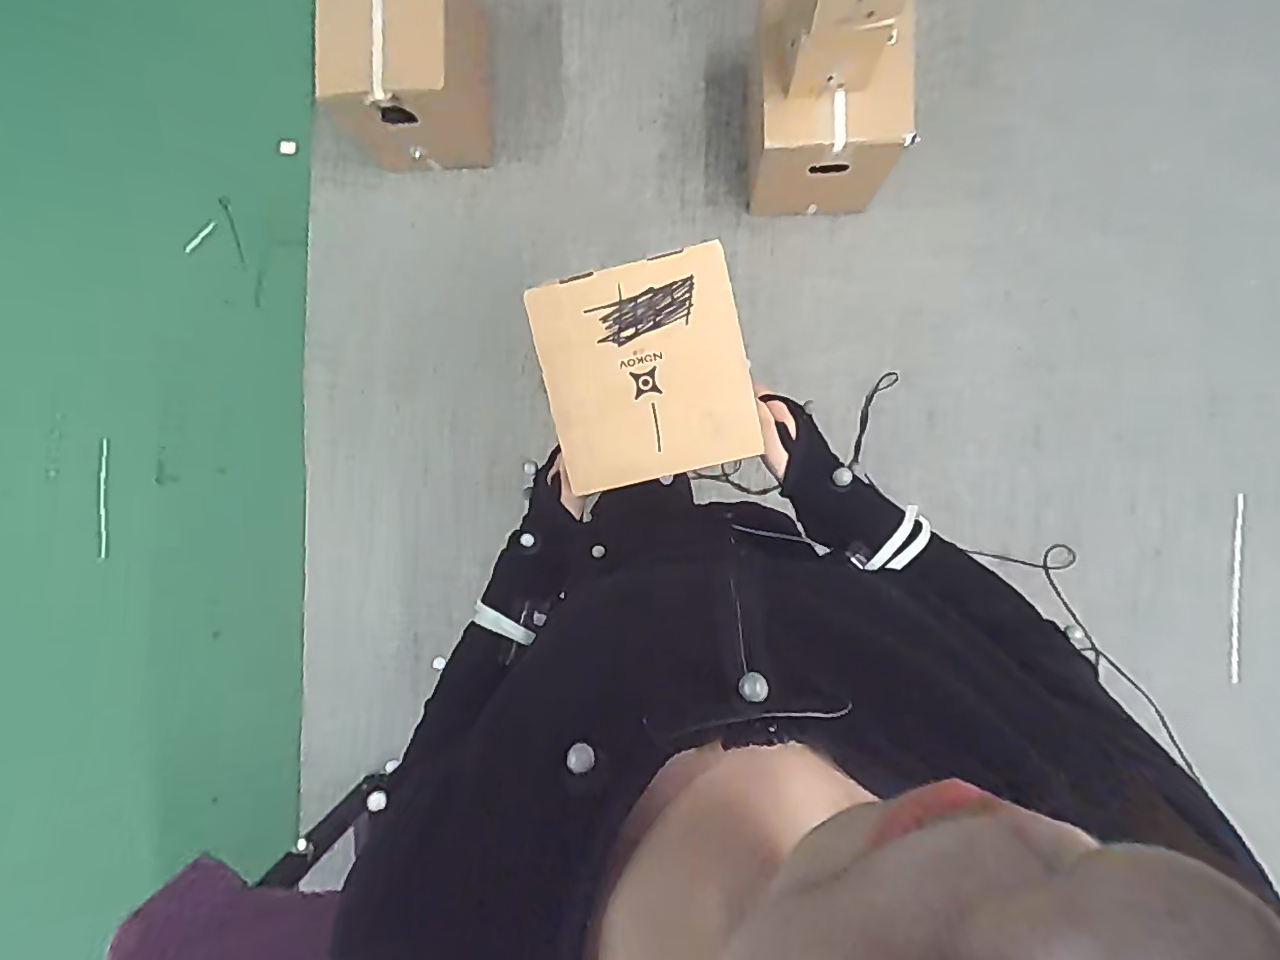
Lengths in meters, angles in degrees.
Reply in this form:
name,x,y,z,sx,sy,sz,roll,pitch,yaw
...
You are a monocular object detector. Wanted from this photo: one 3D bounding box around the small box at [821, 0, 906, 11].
name,x,y,z,sx,sy,sz,roll,pitch,yaw
small box,0.389,-0.917,0.880,0.168,0.176,0.179,-6,92,7
